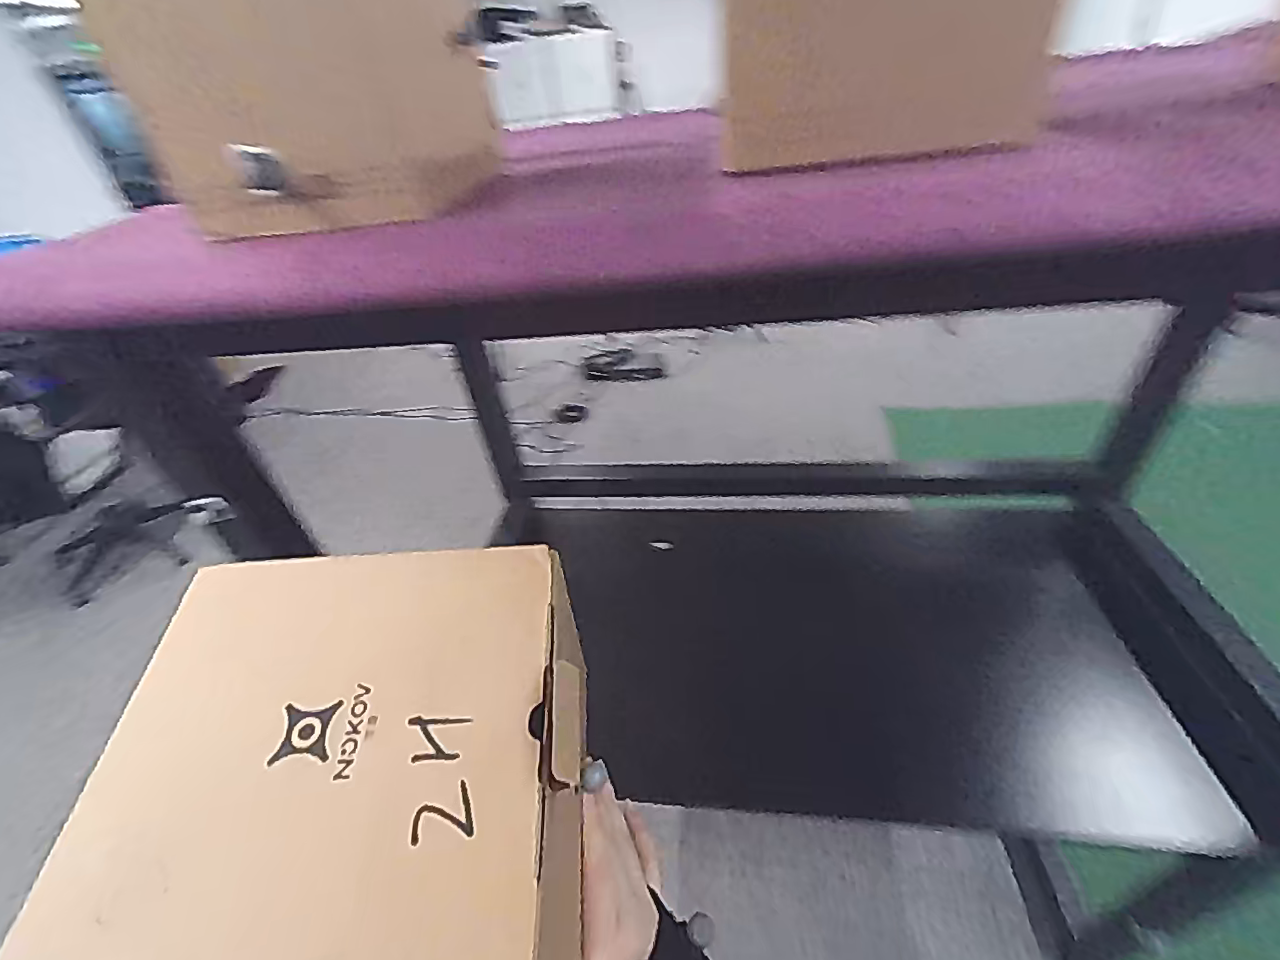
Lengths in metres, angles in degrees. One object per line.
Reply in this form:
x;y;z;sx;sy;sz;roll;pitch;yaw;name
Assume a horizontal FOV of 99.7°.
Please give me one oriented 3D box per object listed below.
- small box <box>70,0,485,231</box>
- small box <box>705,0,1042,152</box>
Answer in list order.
-0.219;-0.280;0.359;0.168;0.176;0.179;-4;39;7;small box
0.129;-0.310;0.329;0.179;0.176;0.168;0;37;10;small box
